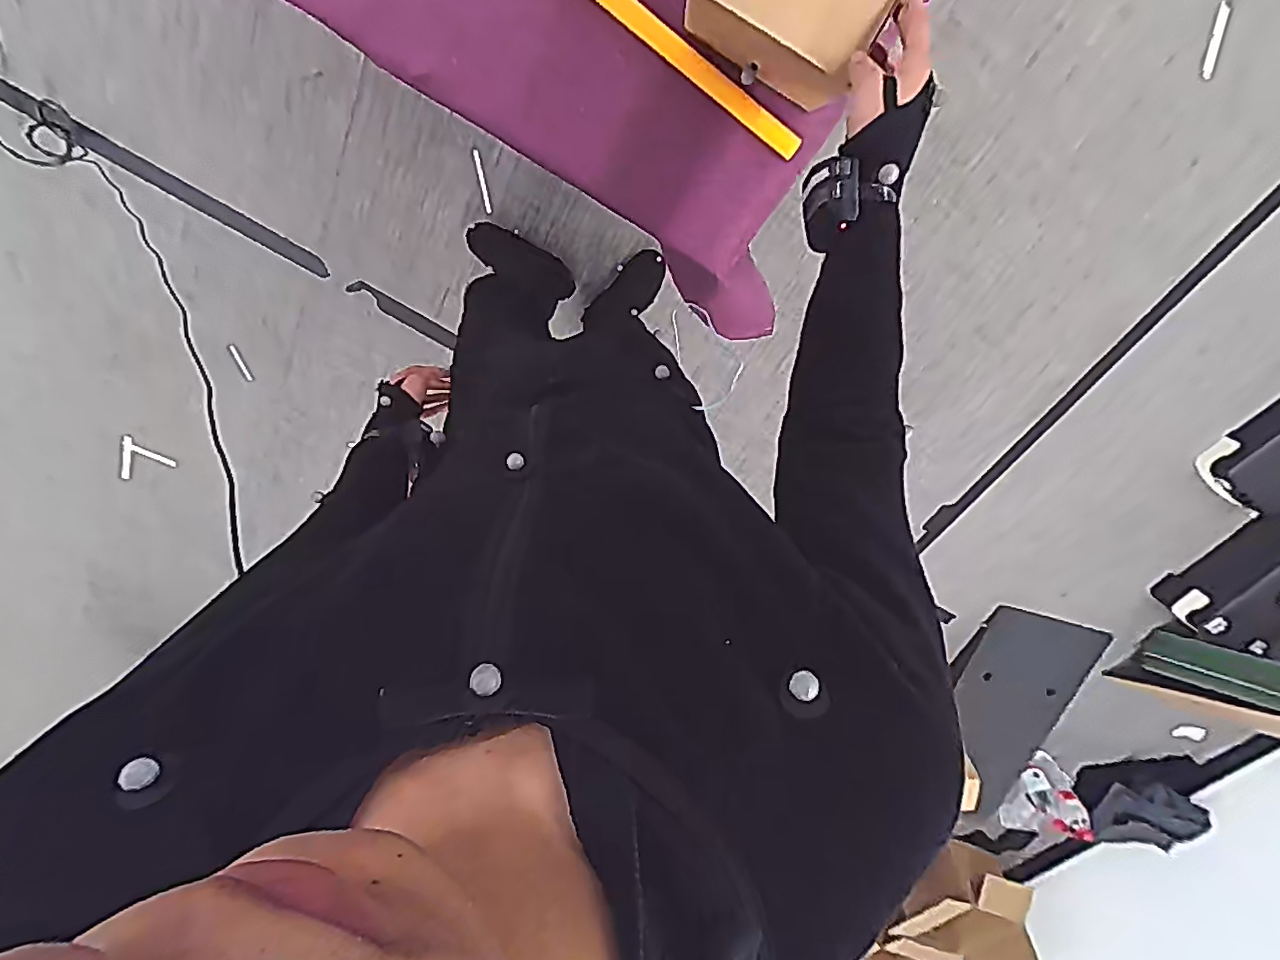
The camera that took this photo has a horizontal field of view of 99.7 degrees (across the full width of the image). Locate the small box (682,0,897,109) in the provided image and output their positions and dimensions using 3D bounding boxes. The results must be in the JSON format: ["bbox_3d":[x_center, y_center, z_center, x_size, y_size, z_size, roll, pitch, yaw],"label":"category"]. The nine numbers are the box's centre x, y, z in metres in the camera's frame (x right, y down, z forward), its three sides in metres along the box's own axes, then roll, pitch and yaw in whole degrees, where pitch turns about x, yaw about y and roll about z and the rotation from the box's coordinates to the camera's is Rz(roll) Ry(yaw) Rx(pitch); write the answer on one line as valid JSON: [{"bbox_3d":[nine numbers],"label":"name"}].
[{"bbox_3d":[0.156,-0.503,0.540,0.179,0.176,0.168,25,117,-11],"label":"small box"}]
